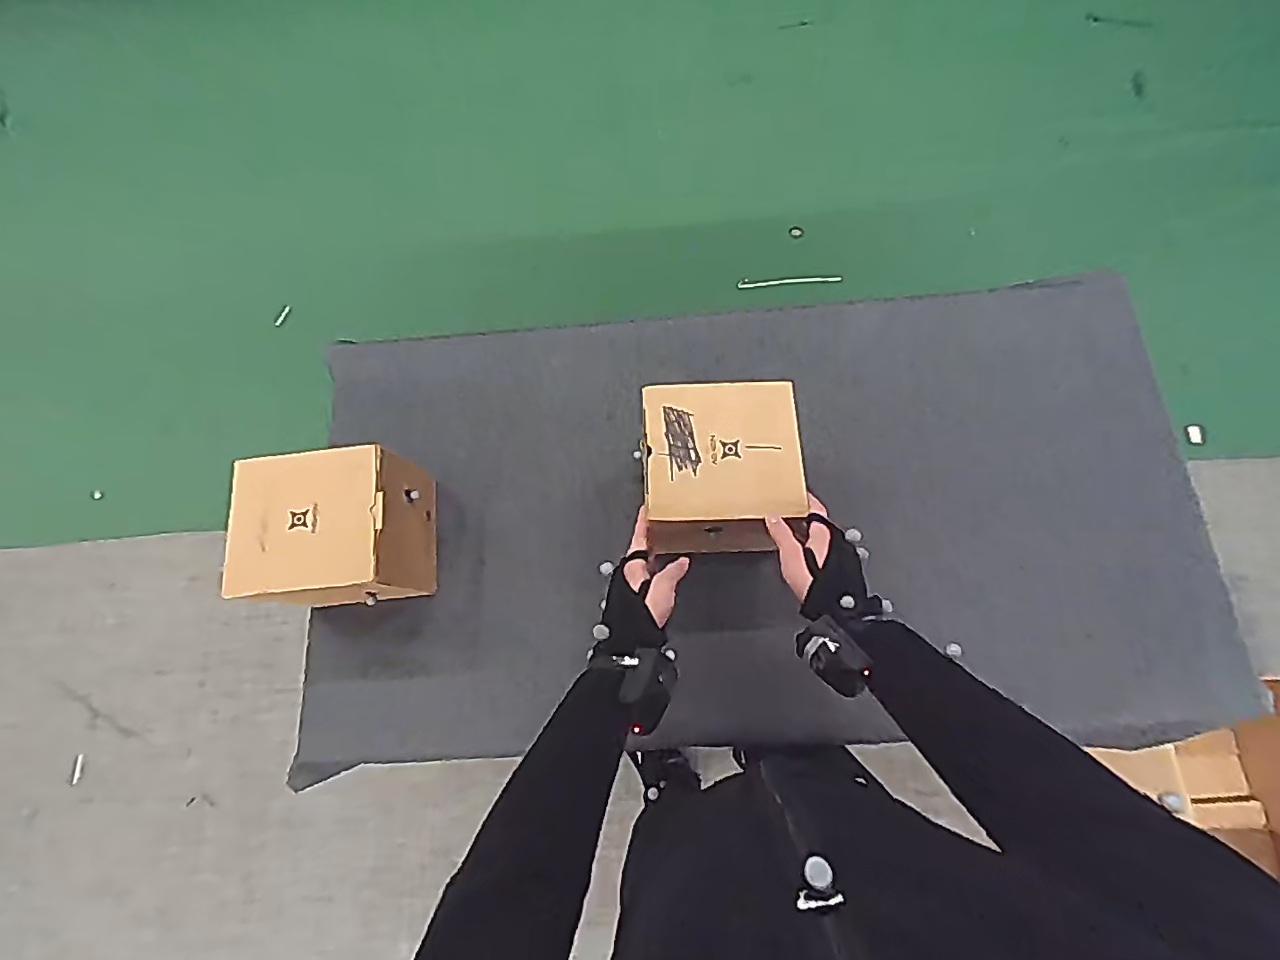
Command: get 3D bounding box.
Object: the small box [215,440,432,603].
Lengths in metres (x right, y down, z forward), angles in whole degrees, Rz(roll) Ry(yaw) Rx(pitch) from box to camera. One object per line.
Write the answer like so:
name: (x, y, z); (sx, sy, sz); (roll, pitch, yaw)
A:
small box: (-0.378, 0.061, 0.682); (0.179, 0.176, 0.168); (-7, 73, 3)

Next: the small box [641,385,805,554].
small box: (0.094, -0.005, 0.673); (0.179, 0.176, 0.168); (2, 72, 2)
